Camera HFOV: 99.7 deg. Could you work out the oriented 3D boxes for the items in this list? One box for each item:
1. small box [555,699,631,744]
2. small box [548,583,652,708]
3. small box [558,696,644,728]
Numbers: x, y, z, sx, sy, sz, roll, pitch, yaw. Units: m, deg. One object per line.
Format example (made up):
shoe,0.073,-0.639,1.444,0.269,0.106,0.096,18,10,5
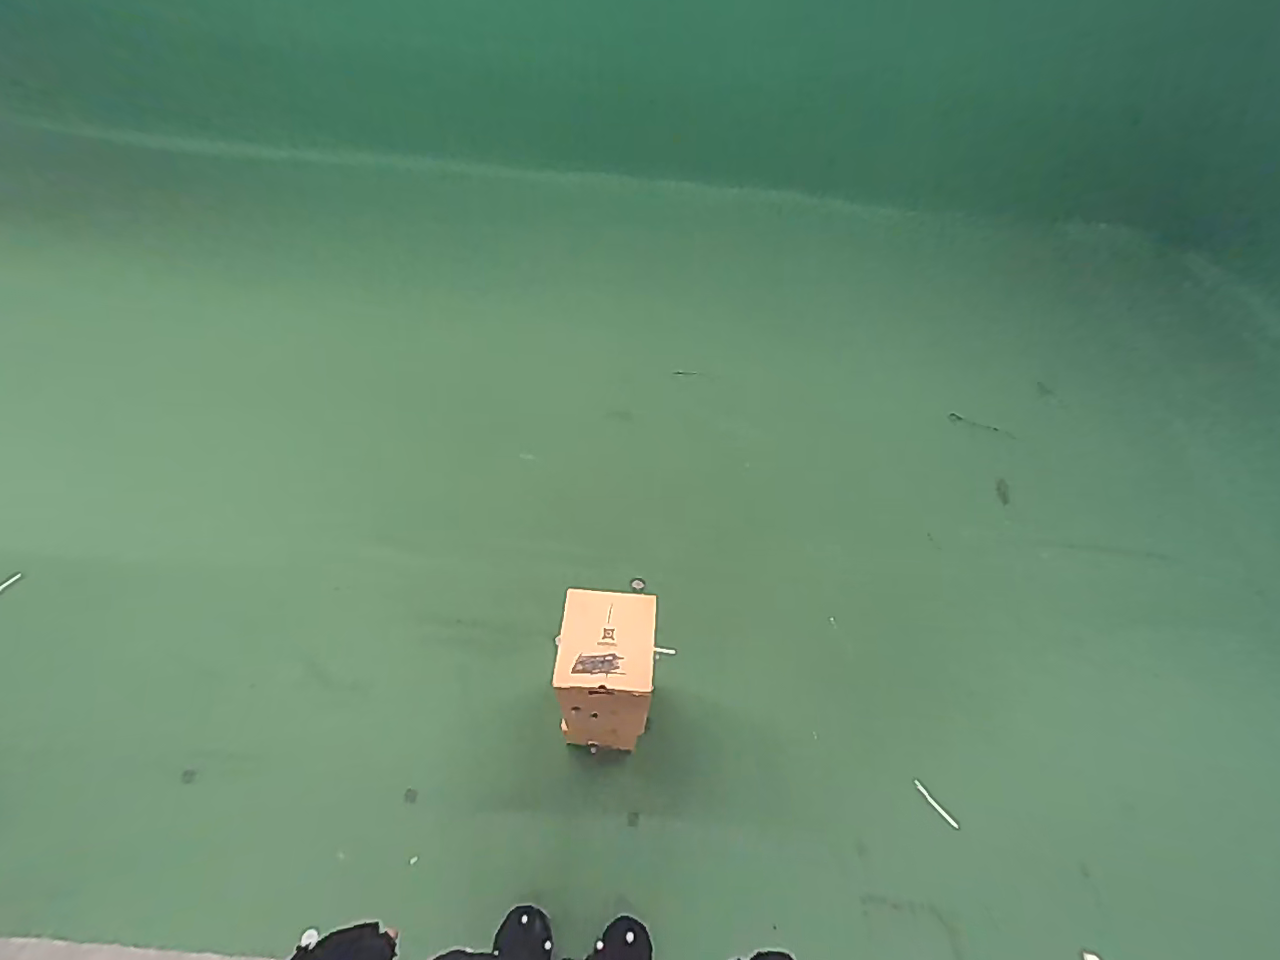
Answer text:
small box,-0.093,0.493,1.252,0.168,0.176,0.179,7,55,3
small box,-0.068,0.312,1.002,0.168,0.176,0.179,5,54,0
small box,-0.074,0.406,1.137,0.168,0.176,0.179,5,54,0
